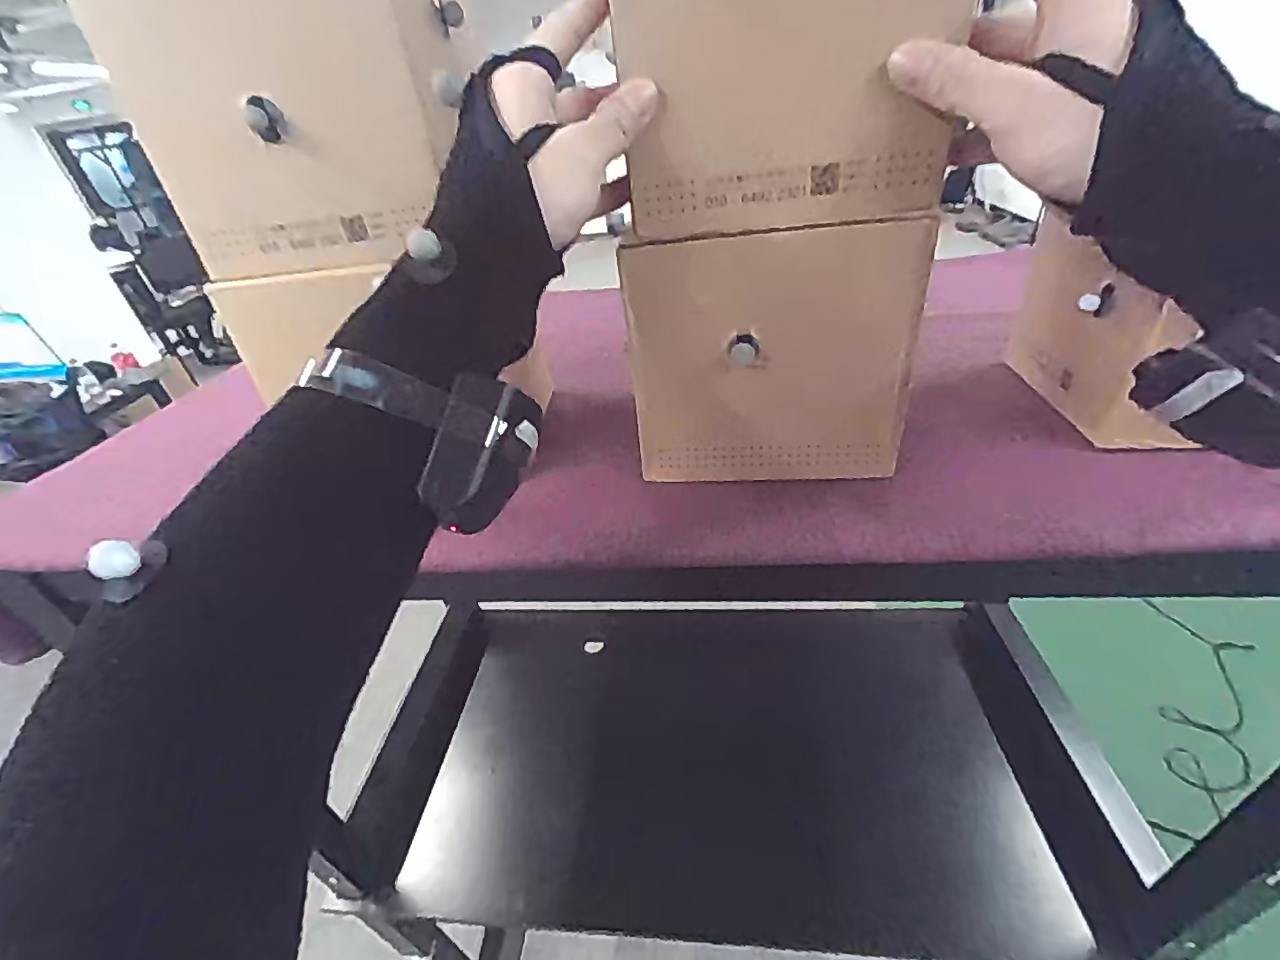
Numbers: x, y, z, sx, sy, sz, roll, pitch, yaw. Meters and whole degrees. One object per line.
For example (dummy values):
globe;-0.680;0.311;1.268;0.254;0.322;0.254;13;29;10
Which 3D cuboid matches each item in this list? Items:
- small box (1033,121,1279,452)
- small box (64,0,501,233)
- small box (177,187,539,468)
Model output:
small box;0.390;-0.126;0.349;0.179;0.176;0.168;2;35;12
small box;-0.201;-0.262;0.346;0.168;0.176;0.179;-3;34;4
small box;-0.185;-0.119;0.427;0.168;0.176;0.179;-3;34;4
